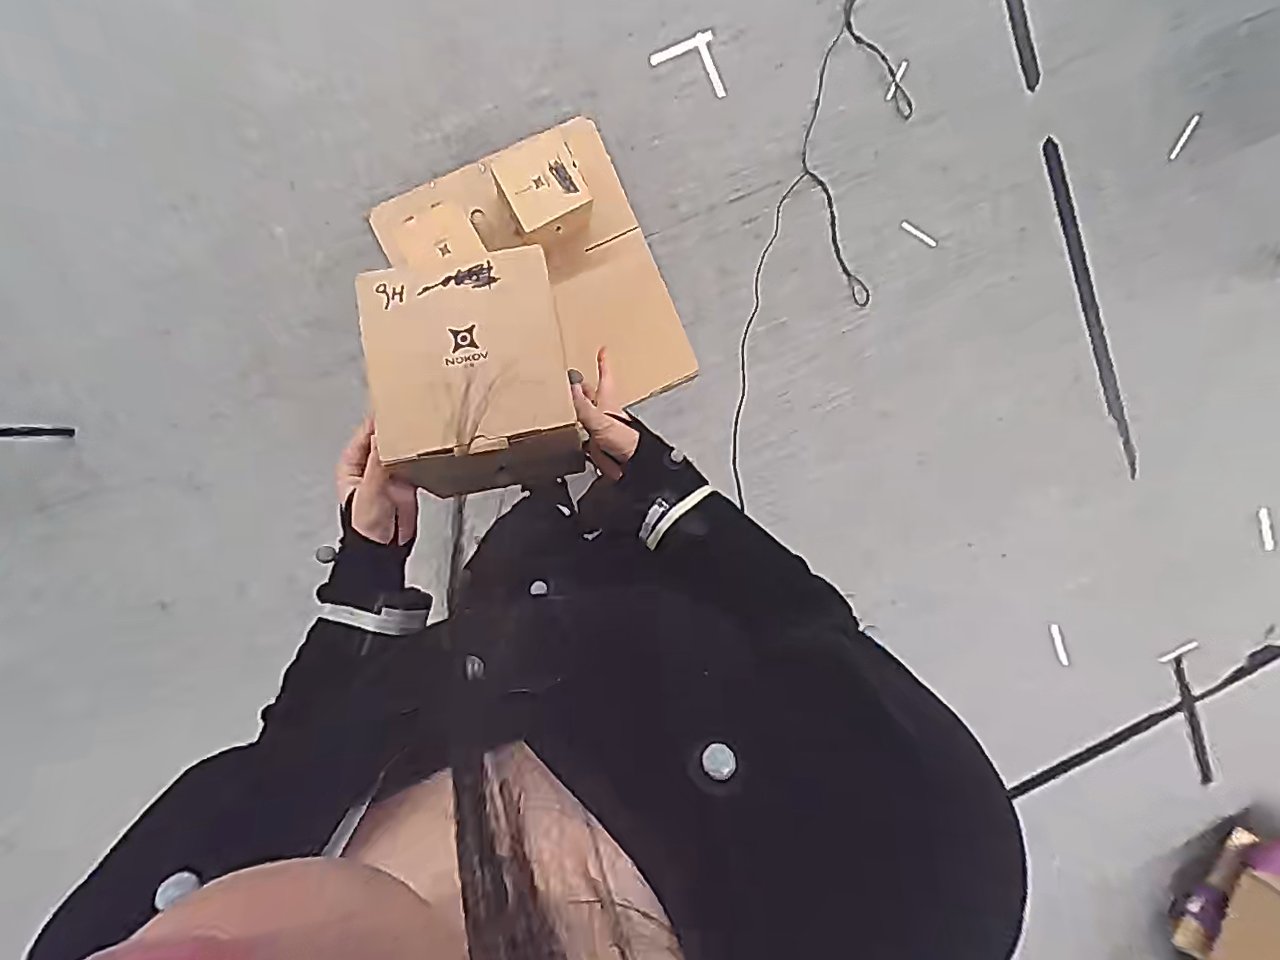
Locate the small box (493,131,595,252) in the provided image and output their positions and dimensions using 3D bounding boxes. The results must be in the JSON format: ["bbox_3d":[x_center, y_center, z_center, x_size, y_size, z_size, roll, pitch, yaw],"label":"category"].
[{"bbox_3d":[-0.223,-0.670,1.276,0.179,0.176,0.168,-29,100,-3],"label":"small box"}]

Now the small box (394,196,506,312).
[{"bbox_3d":[-0.436,-0.520,1.270,0.168,0.176,0.179,-31,101,-1],"label":"small box"}]
